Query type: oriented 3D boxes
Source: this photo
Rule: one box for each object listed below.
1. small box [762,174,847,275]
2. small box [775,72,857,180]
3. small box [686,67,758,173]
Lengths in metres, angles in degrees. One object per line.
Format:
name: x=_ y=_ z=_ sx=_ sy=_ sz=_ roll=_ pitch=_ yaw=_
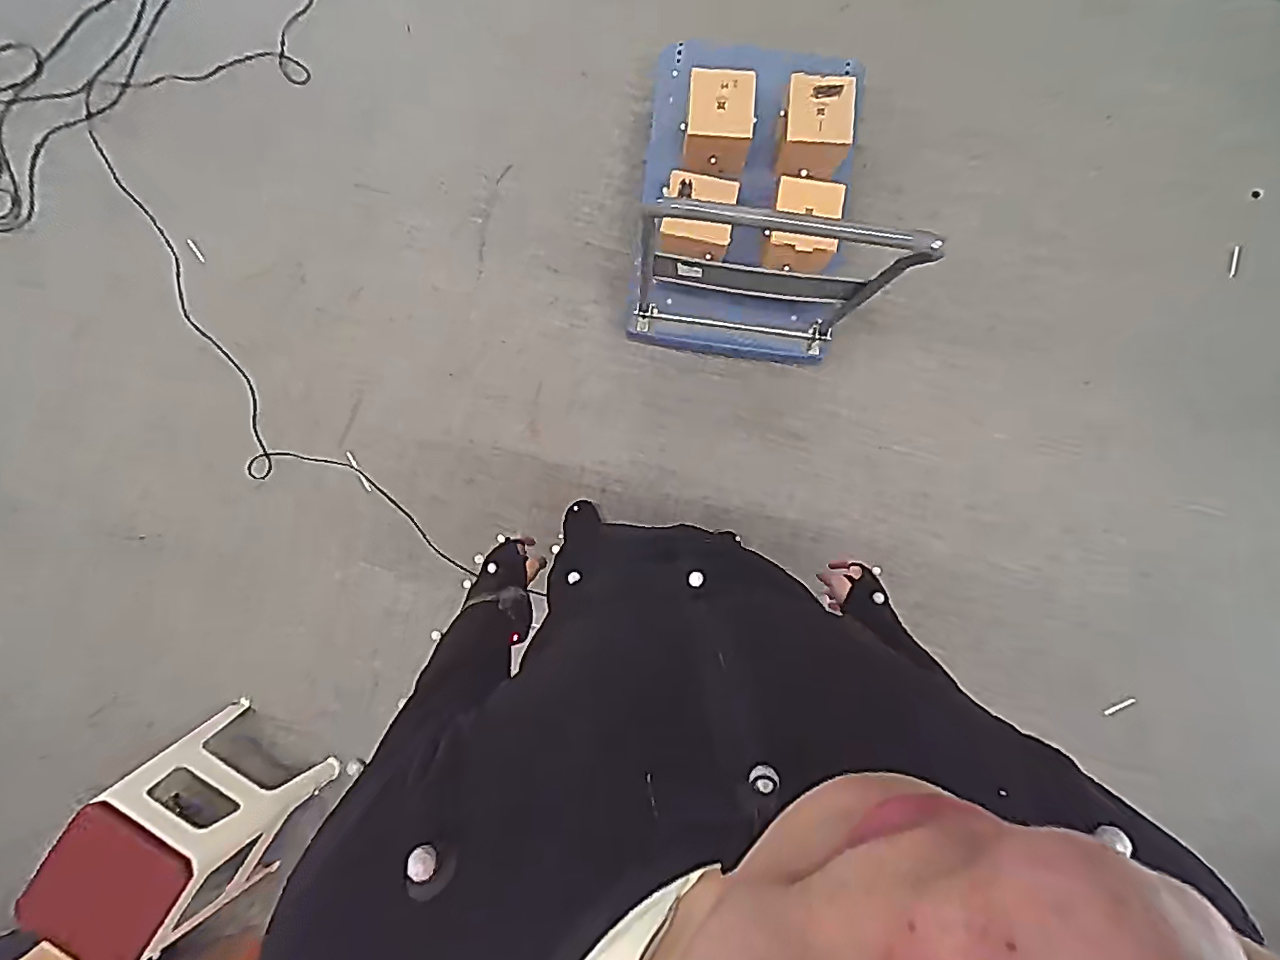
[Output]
small box: x=0.429 y=-0.672 z=1.436 sx=0.168 sy=0.176 sz=0.179 roll=8 pitch=88 yaw=1
small box: x=0.465 y=-0.940 z=1.445 sx=0.168 sy=0.176 sz=0.179 roll=4 pitch=89 yaw=2
small box: x=0.213 y=-0.955 z=1.450 sx=0.168 sy=0.176 sz=0.179 roll=4 pitch=88 yaw=0
